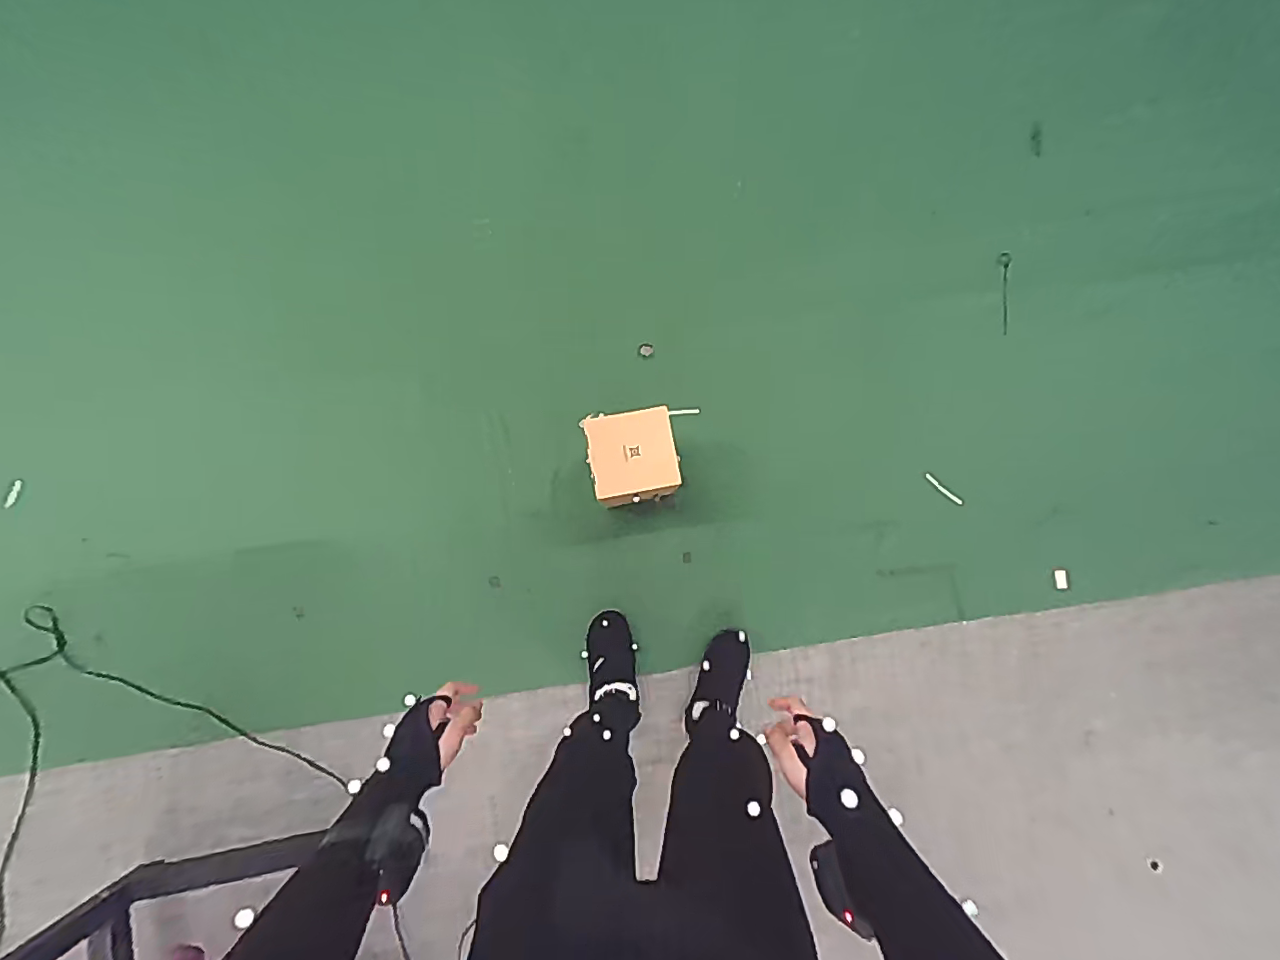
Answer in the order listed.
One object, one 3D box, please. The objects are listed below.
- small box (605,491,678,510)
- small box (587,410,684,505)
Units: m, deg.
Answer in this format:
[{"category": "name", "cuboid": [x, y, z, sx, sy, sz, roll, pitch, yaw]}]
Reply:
[{"category": "small box", "cuboid": [-0.014, -0.025, 1.329, 0.179, 0.176, 0.168, -12, 84, -2]}, {"category": "small box", "cuboid": [-0.011, -0.042, 1.167, 0.179, 0.176, 0.168, -11, 84, -1]}]
